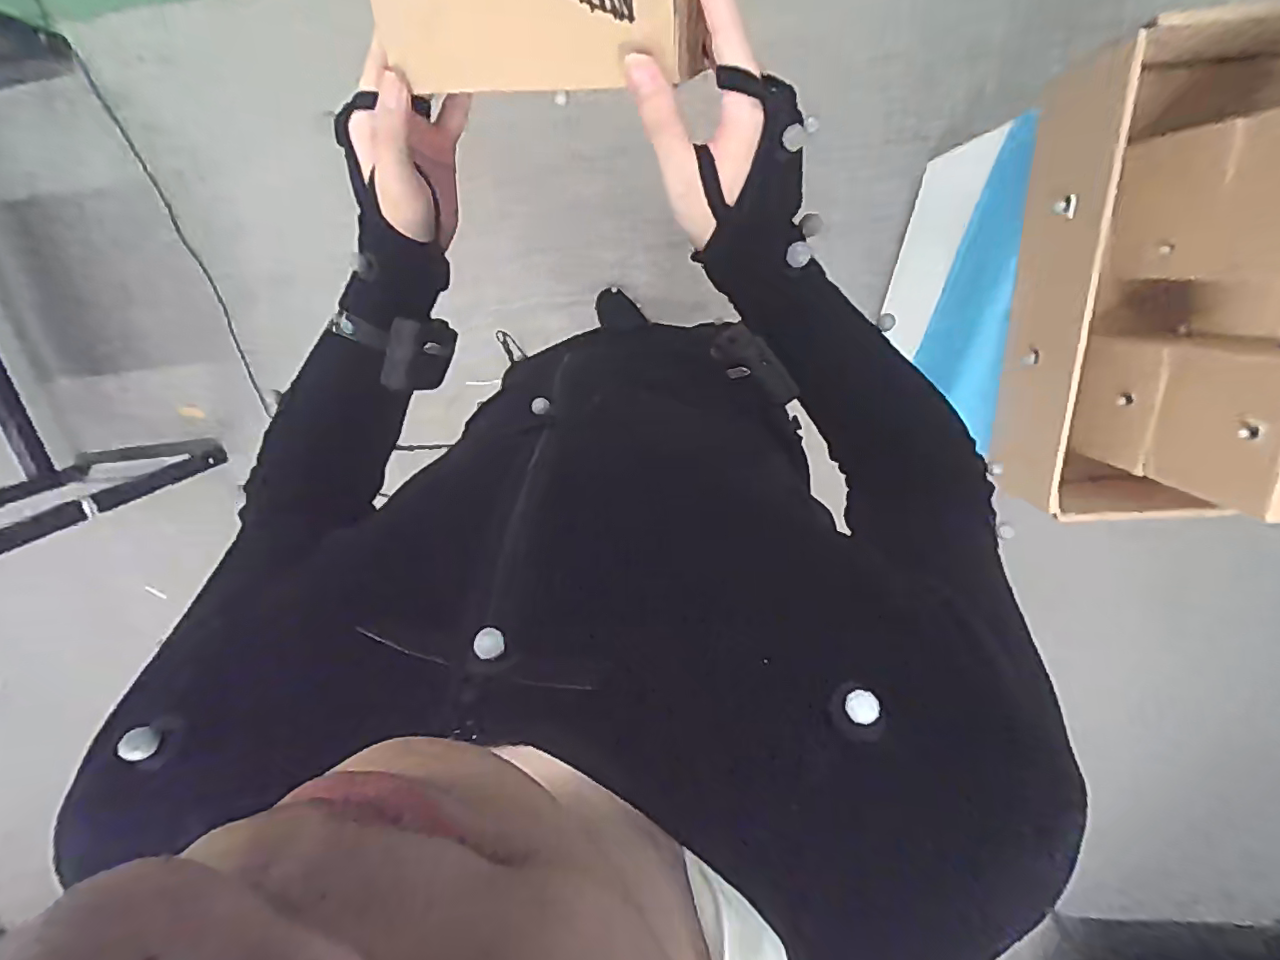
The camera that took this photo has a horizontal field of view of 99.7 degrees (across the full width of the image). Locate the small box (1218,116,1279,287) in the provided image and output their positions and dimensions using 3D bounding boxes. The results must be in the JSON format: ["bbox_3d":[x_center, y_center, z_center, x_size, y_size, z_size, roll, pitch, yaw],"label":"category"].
[{"bbox_3d":[0.755,-0.296,0.544,0.168,0.176,0.179,-8,111,7],"label":"small box"}]

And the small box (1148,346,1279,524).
[{"bbox_3d":[0.754,-0.062,0.628,0.168,0.176,0.179,-2,109,5],"label":"small box"}]
